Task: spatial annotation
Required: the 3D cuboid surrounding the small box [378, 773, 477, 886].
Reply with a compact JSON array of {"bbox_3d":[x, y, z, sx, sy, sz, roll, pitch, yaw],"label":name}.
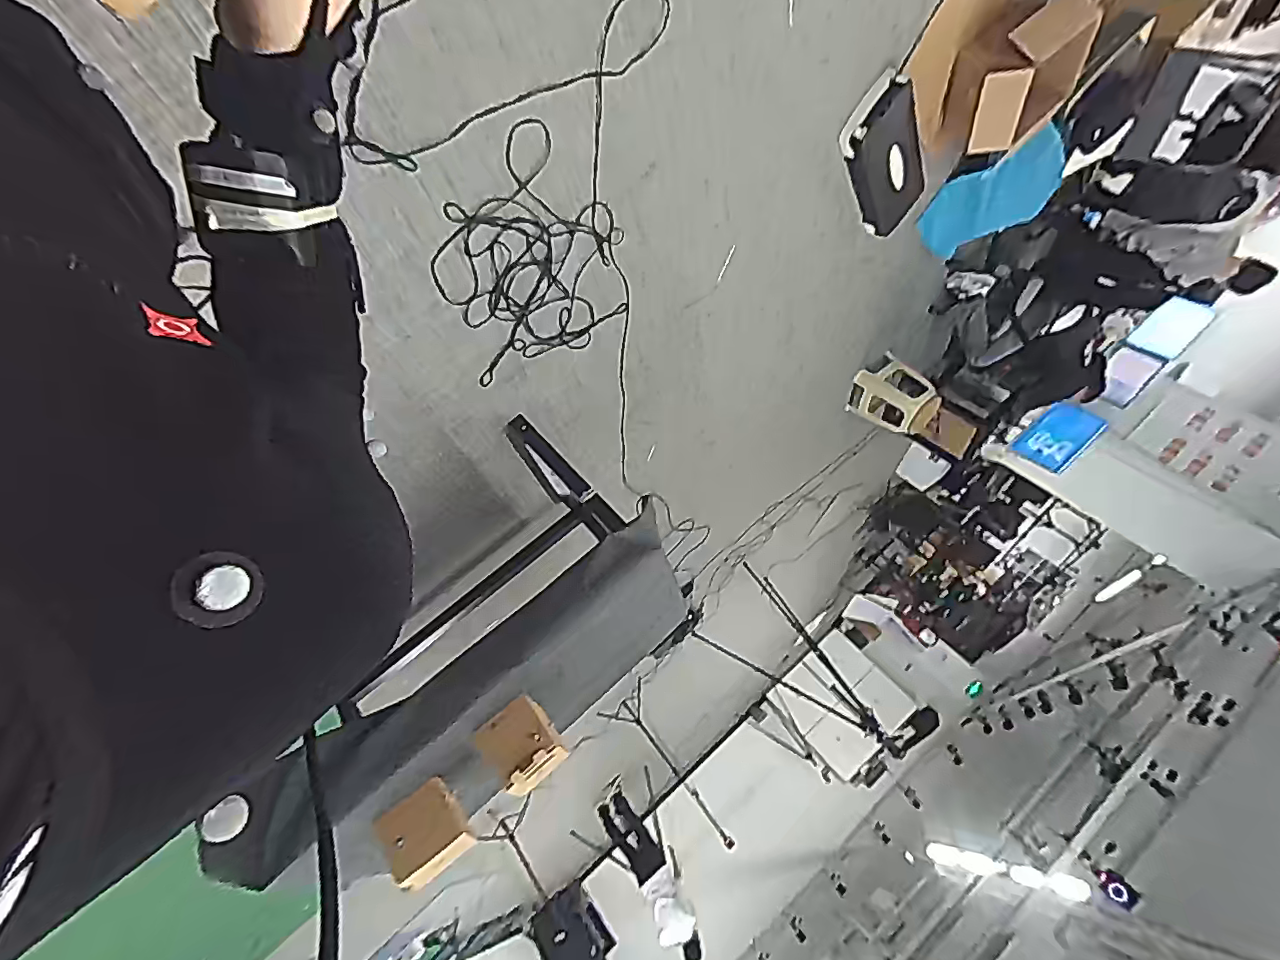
[{"bbox_3d":[-0.560,0.913,1.416,0.179,0.176,0.168,-33,148,-24],"label":"small box"}]
